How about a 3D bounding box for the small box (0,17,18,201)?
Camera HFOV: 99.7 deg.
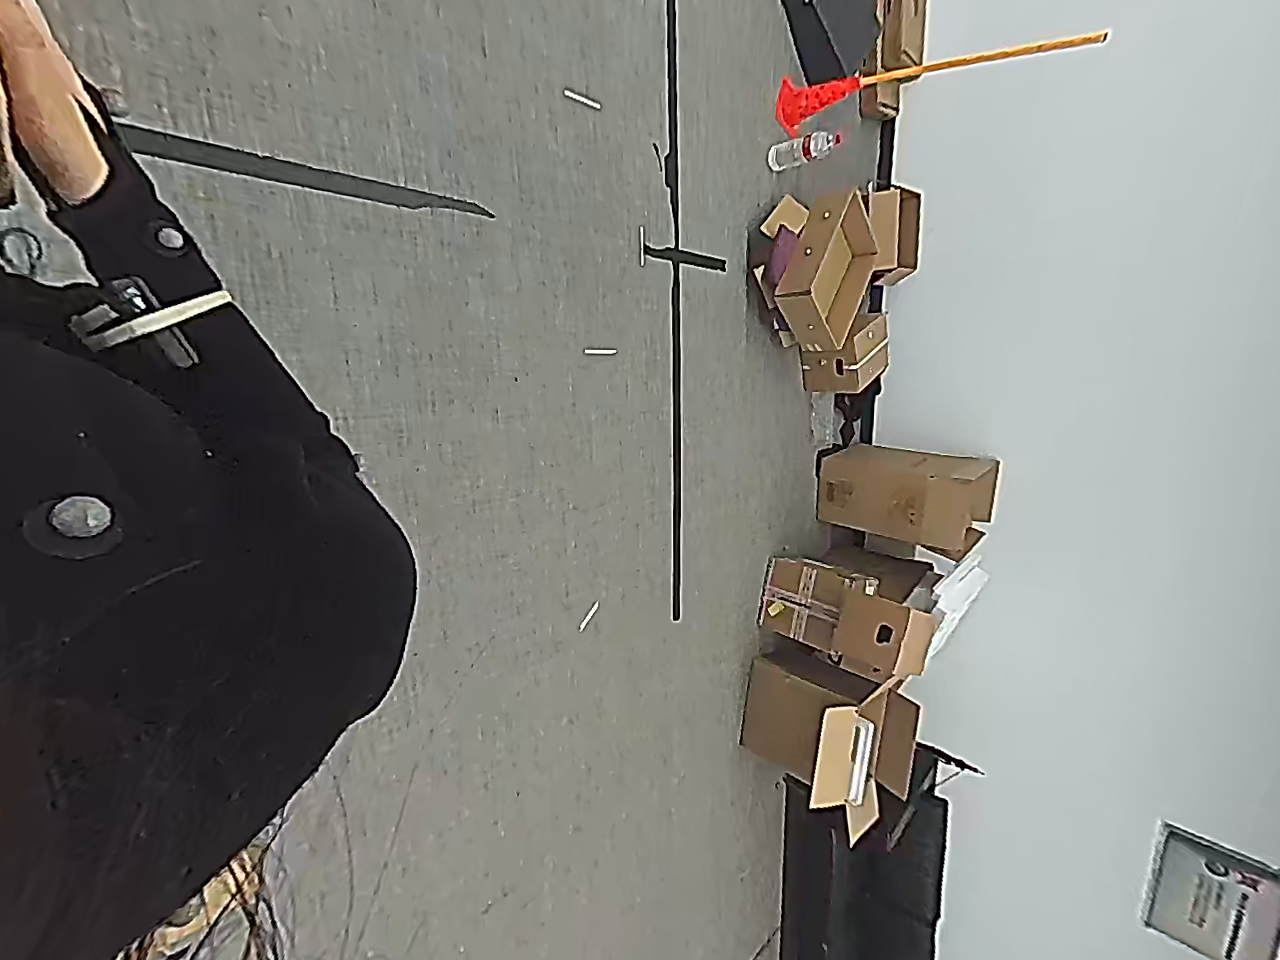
[{"bbox_3d":[-0.376,-0.232,0.205,0.168,0.176,0.179,-11,104,-47],"label":"small box"}]
